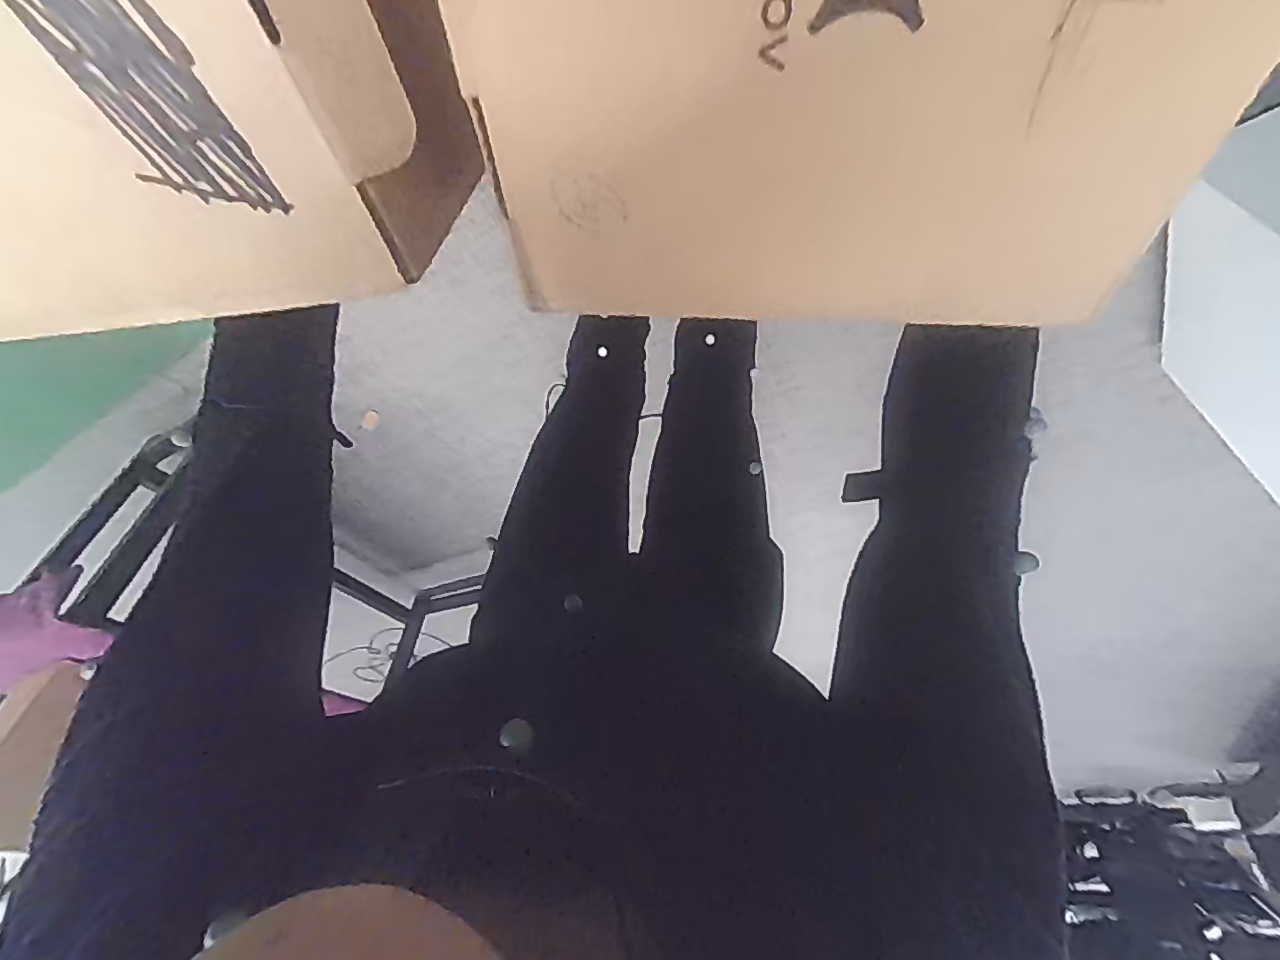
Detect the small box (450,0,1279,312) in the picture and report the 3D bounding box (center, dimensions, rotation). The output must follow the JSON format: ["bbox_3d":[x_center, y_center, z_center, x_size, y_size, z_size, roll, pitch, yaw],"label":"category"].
[{"bbox_3d":[0.052,-0.170,0.157,0.179,0.176,0.168,4,141,6],"label":"small box"}]

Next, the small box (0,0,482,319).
[{"bbox_3d":[-0.158,-0.174,0.167,0.179,0.176,0.168,-3,139,10],"label":"small box"}]
